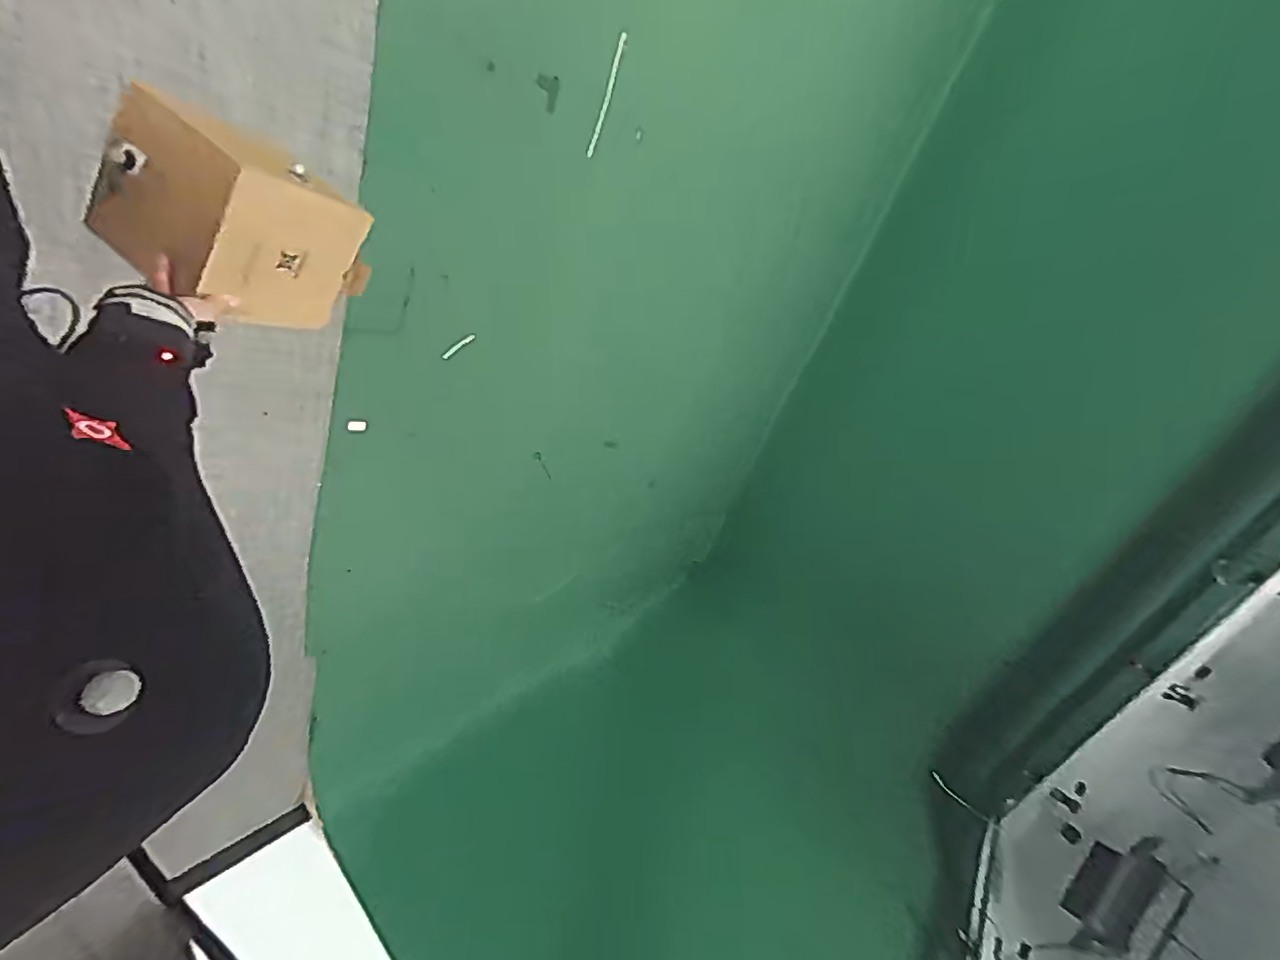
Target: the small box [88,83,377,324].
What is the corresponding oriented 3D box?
[{"bbox_3d":[-0.456,-0.302,0.621,0.168,0.176,0.179,-55,174,17],"label":"small box"}]
